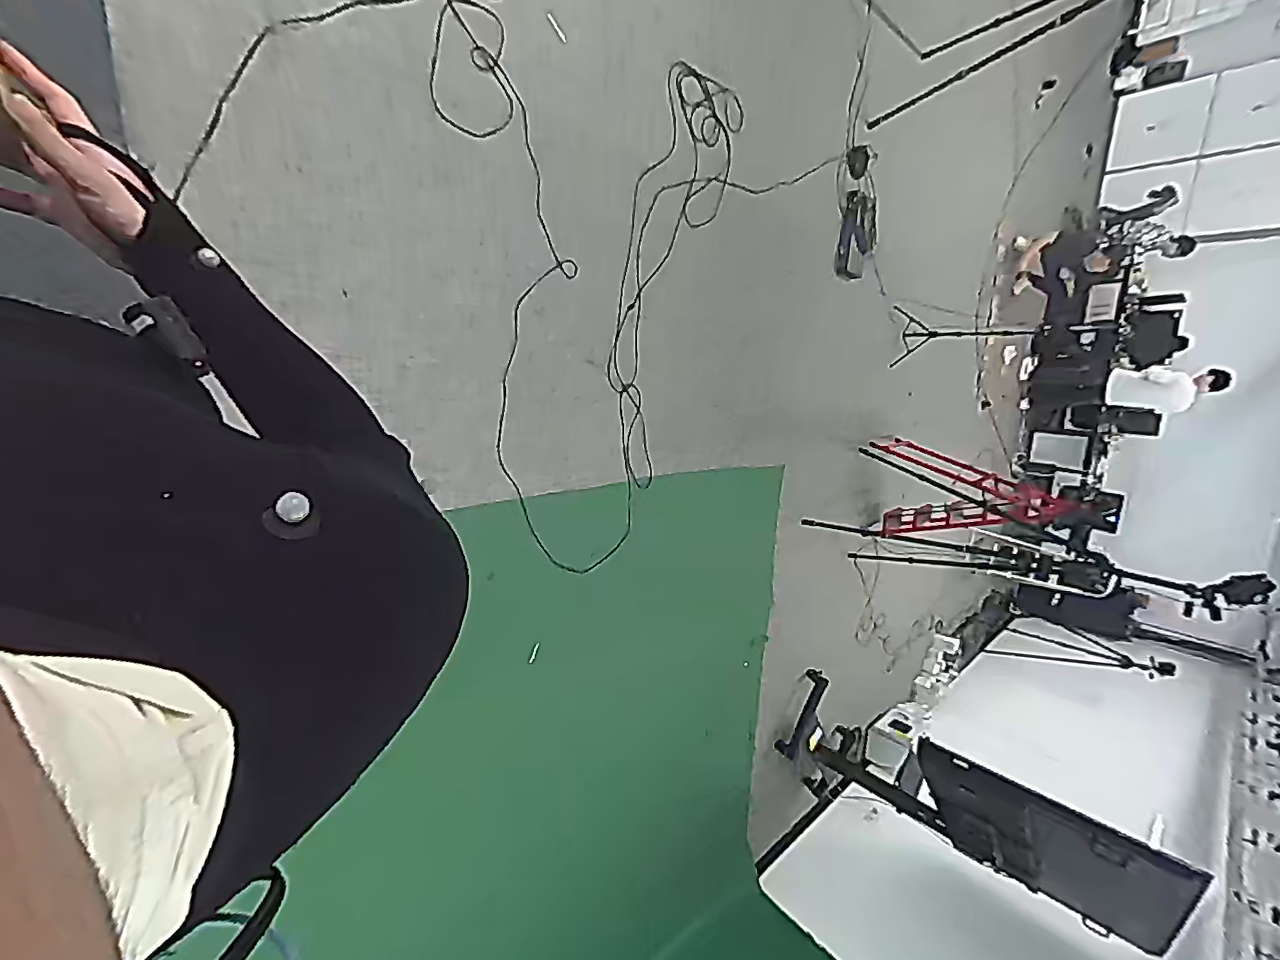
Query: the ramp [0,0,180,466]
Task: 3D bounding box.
[{"bbox_3d":[-1.304,-0.525,1.061,0.509,0.206,0.991,-11,107,-40],"label":"ramp"}]
